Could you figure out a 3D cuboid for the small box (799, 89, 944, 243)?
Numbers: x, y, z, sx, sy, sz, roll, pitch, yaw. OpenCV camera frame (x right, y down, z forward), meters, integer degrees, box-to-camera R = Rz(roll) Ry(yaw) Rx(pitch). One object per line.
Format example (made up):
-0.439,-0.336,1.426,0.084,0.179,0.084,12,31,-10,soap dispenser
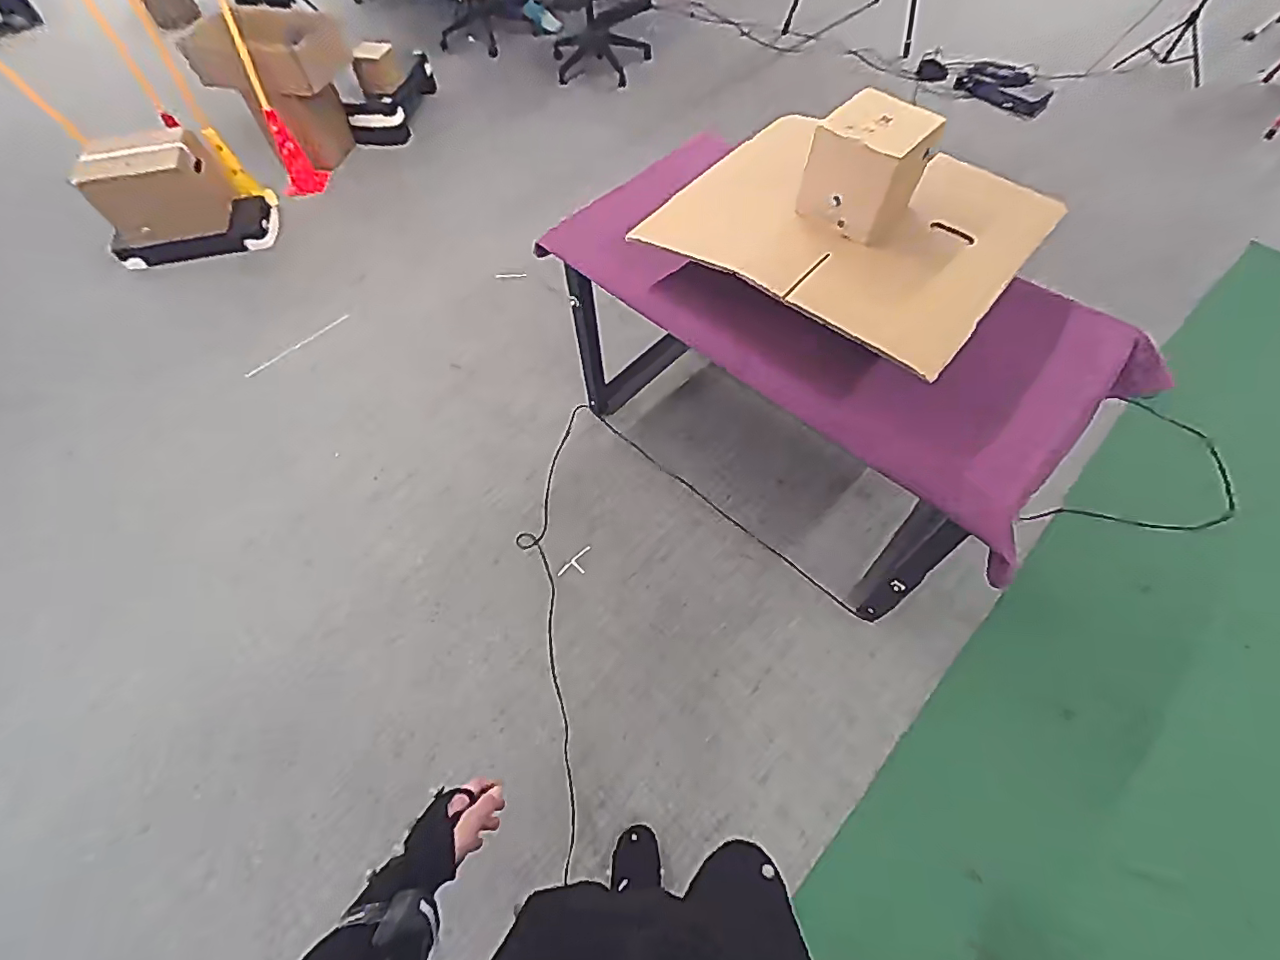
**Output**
0.429,-0.595,1.032,0.168,0.176,0.179,38,68,20,small box
